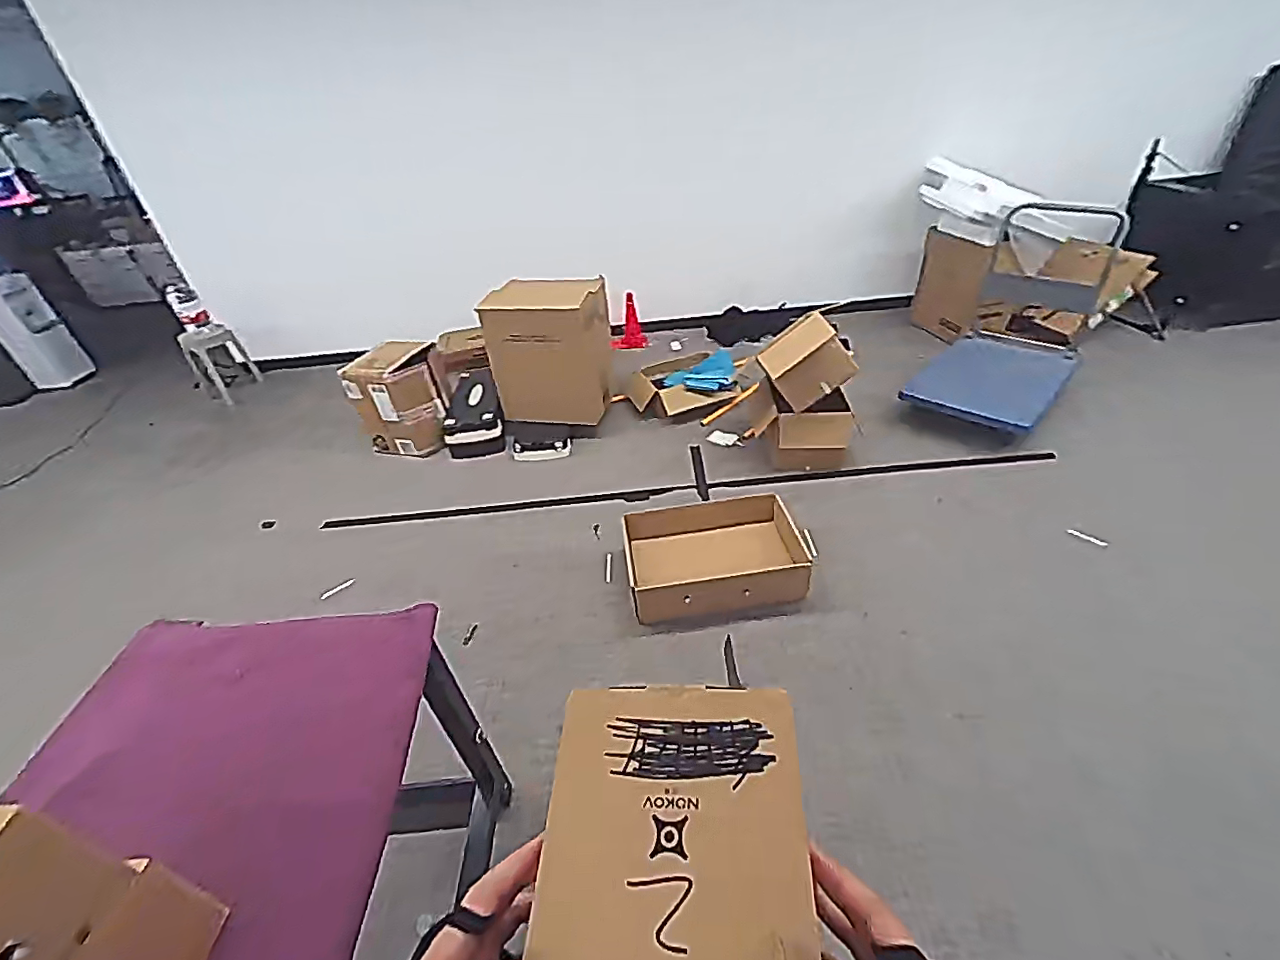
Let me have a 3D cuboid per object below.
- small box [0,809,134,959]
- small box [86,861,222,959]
[{"bbox_3d":[-0.624,0.416,0.475,0.179,0.176,0.168,-6,36,2],"label":"small box"},{"bbox_3d":[-0.601,0.543,0.578,0.168,0.176,0.179,-5,37,2],"label":"small box"}]
